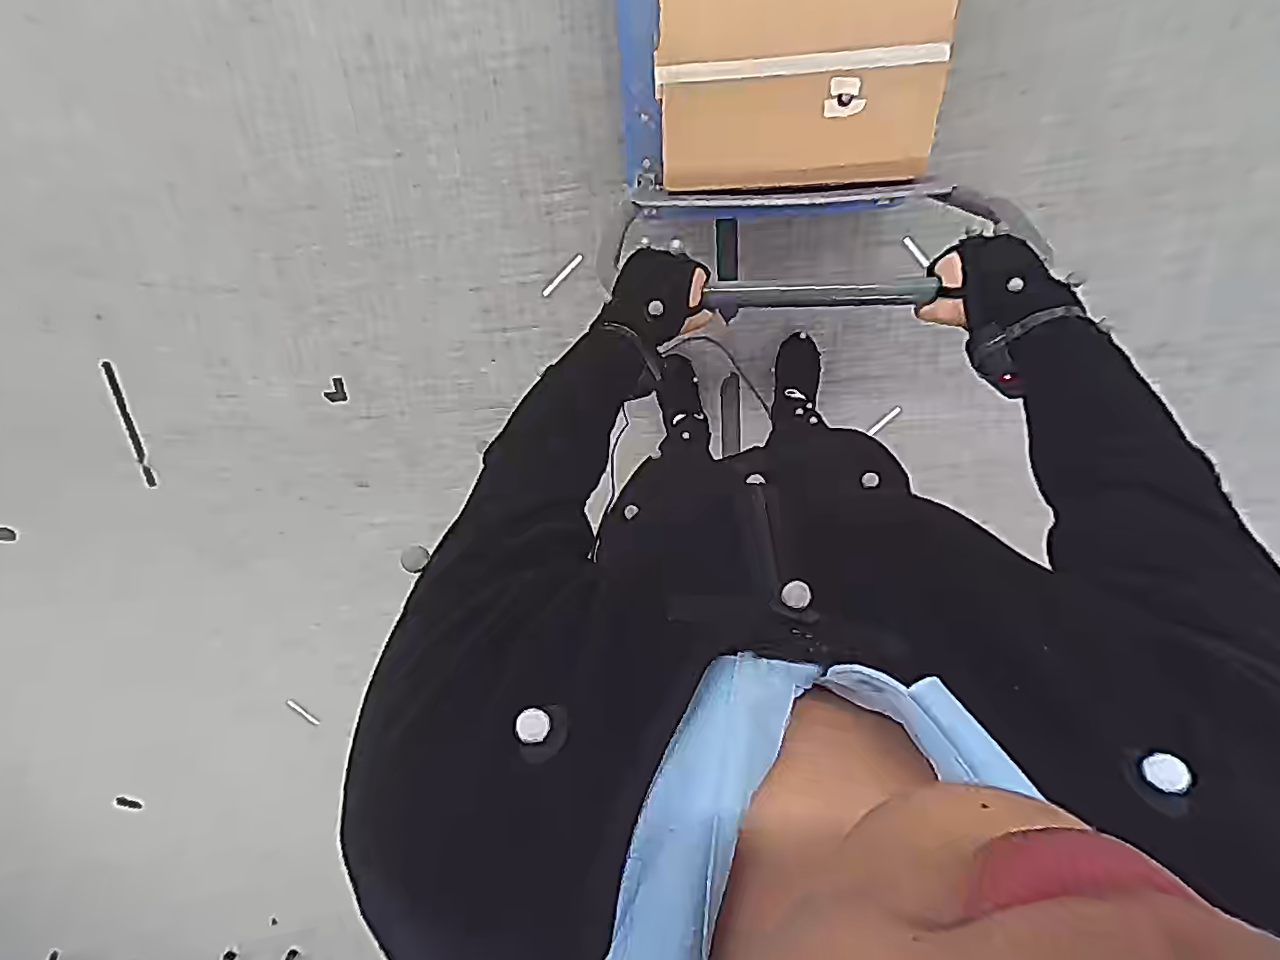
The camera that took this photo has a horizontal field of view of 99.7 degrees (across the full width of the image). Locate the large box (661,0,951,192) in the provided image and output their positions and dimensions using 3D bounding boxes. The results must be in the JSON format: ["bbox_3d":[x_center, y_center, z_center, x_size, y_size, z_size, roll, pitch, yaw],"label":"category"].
[{"bbox_3d":[0.247,-0.686,0.920,0.408,0.320,0.320,0,121,6],"label":"large box"}]
